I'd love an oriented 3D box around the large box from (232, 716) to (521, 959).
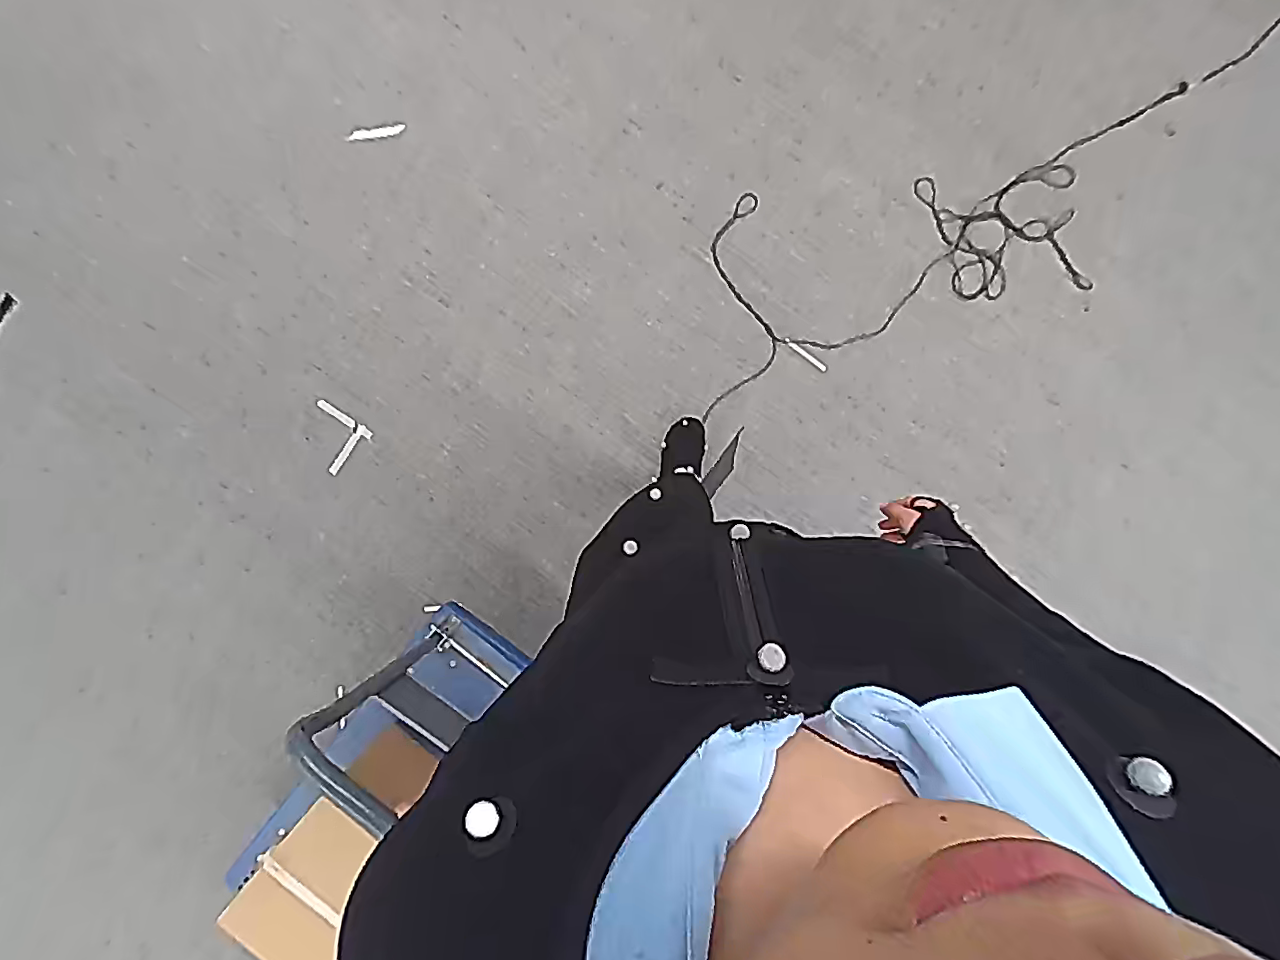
[{"bbox_3d":[-0.534,0.811,1.180,0.408,0.320,0.320,40,90,-1],"label":"large box"}]
